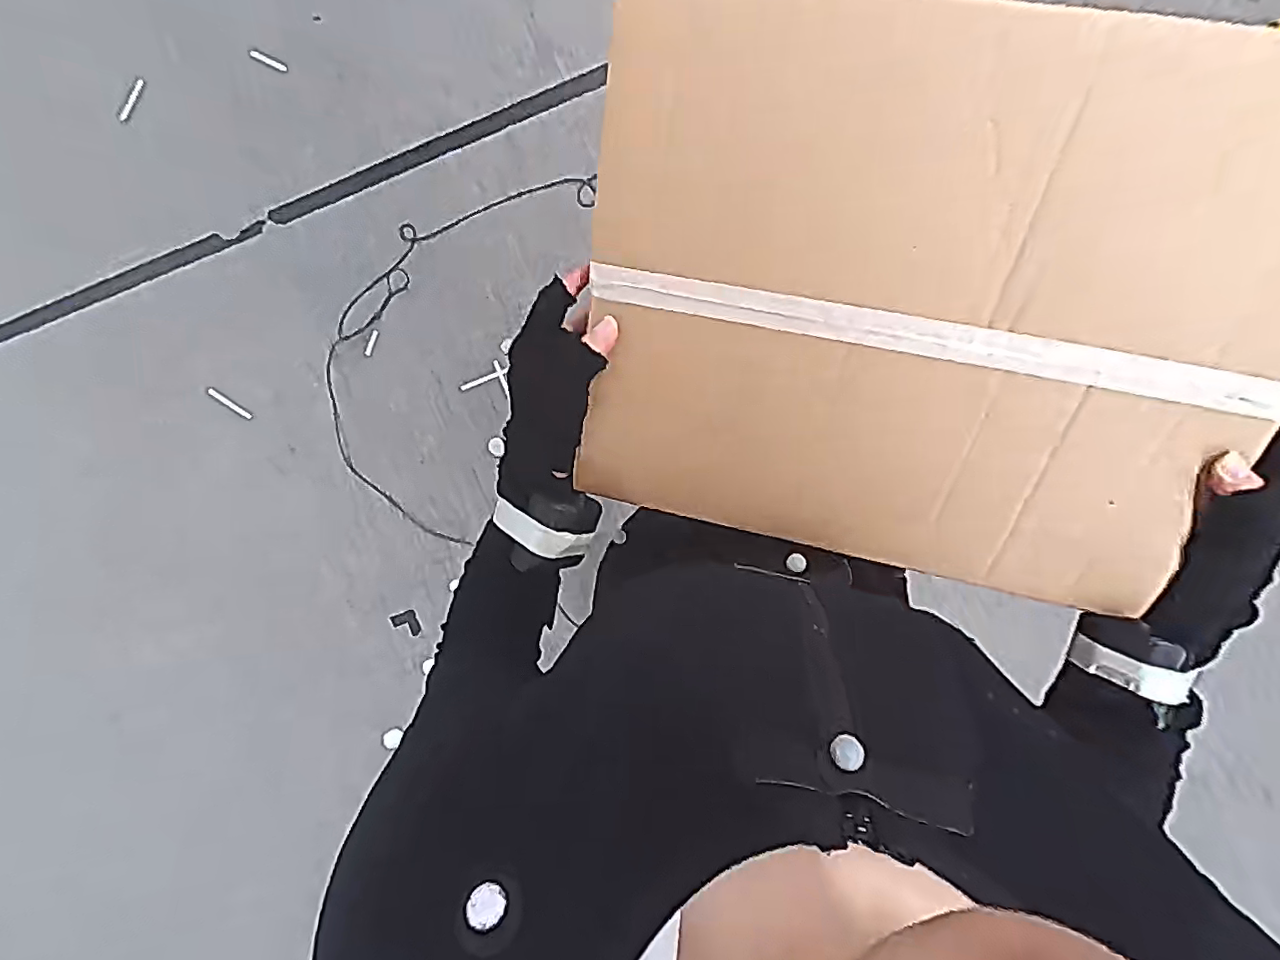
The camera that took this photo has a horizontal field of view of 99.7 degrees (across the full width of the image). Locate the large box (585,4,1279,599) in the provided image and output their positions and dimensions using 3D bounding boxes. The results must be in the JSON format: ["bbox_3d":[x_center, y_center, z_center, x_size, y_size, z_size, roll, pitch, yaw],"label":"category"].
[{"bbox_3d":[0.194,-0.149,0.474,0.408,0.320,0.320,13,118,7],"label":"large box"}]
